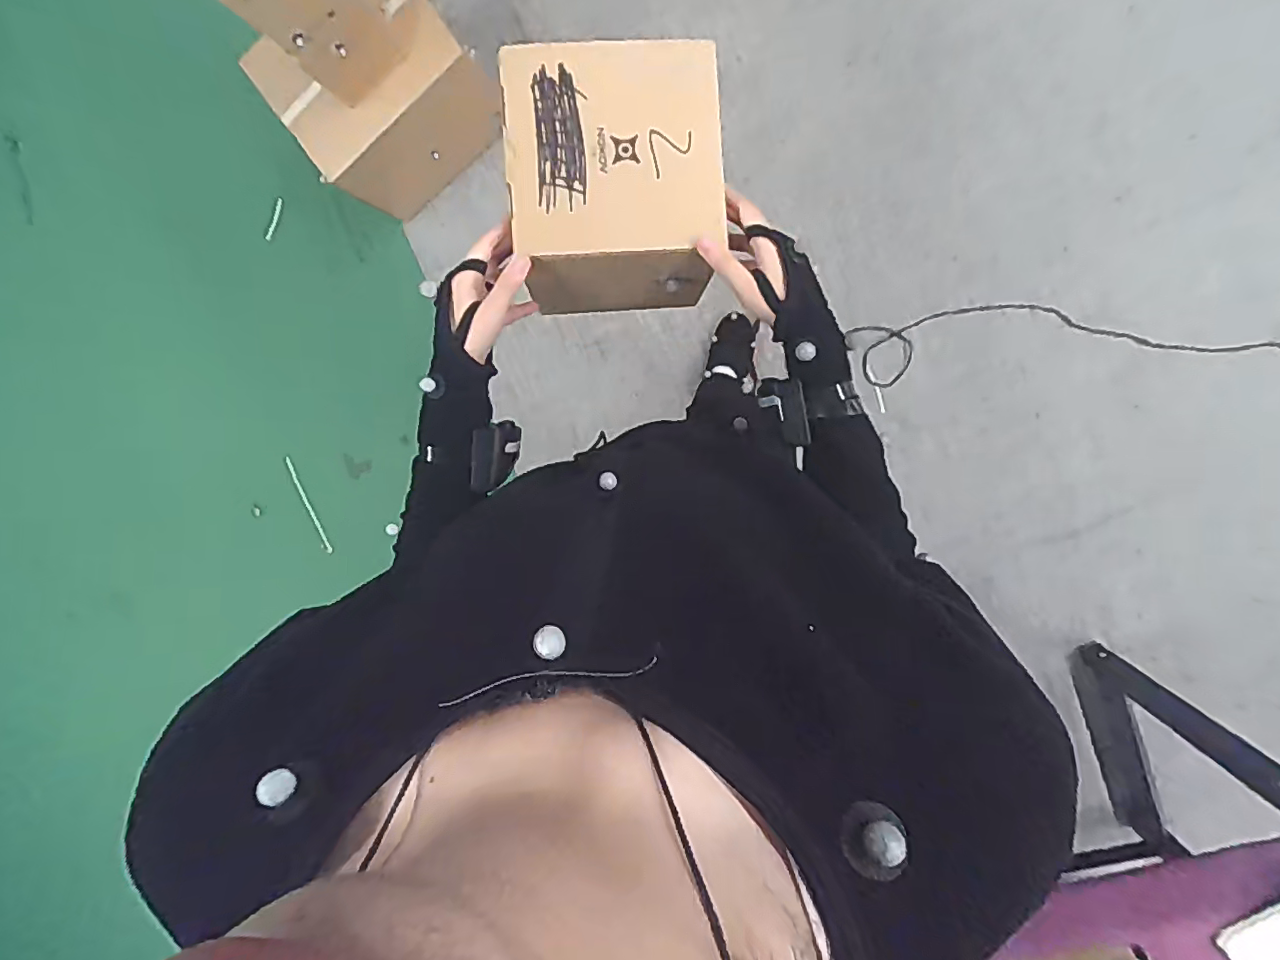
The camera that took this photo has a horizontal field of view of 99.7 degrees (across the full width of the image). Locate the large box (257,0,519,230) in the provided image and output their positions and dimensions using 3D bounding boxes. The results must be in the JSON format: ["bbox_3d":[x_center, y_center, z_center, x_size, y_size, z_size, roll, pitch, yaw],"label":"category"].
[{"bbox_3d":[-0.571,-0.887,1.287,0.408,0.320,0.320,-35,92,13],"label":"large box"}]

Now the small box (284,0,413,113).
[{"bbox_3d":[-0.582,-0.862,1.042,0.179,0.176,0.168,-32,95,11],"label":"small box"}]

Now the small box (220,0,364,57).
[{"bbox_3d":[-0.597,-0.844,0.880,0.168,0.176,0.179,-30,95,11],"label":"small box"}]
